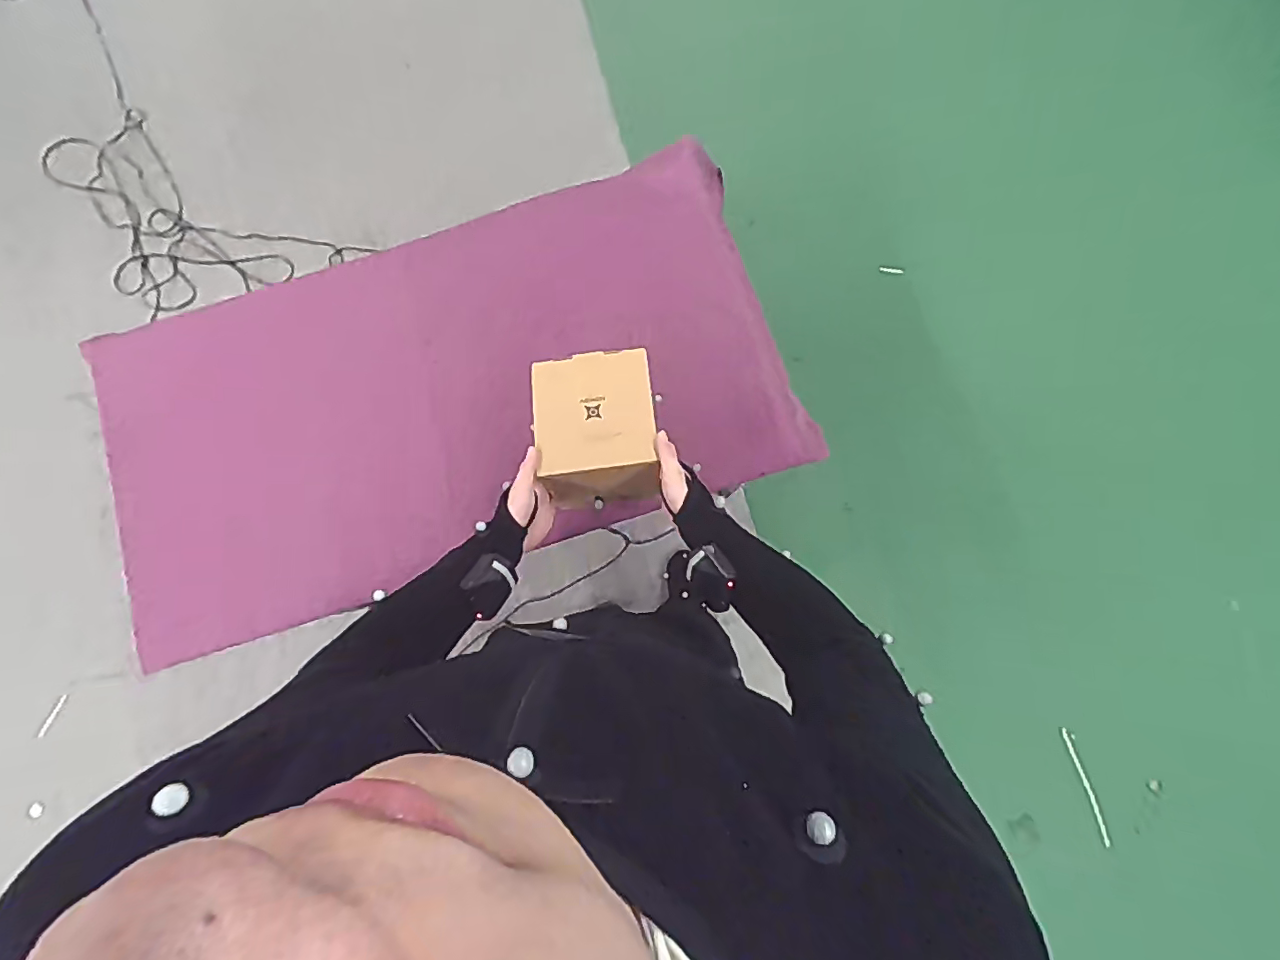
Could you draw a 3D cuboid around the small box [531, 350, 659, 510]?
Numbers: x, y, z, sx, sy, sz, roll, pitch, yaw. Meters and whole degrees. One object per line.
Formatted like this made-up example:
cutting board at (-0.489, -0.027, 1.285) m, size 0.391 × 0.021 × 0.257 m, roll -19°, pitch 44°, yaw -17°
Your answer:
small box at (-0.061, -0.067, 0.800) m, size 0.168 × 0.176 × 0.179 m, roll -6°, pitch 71°, yaw 2°
